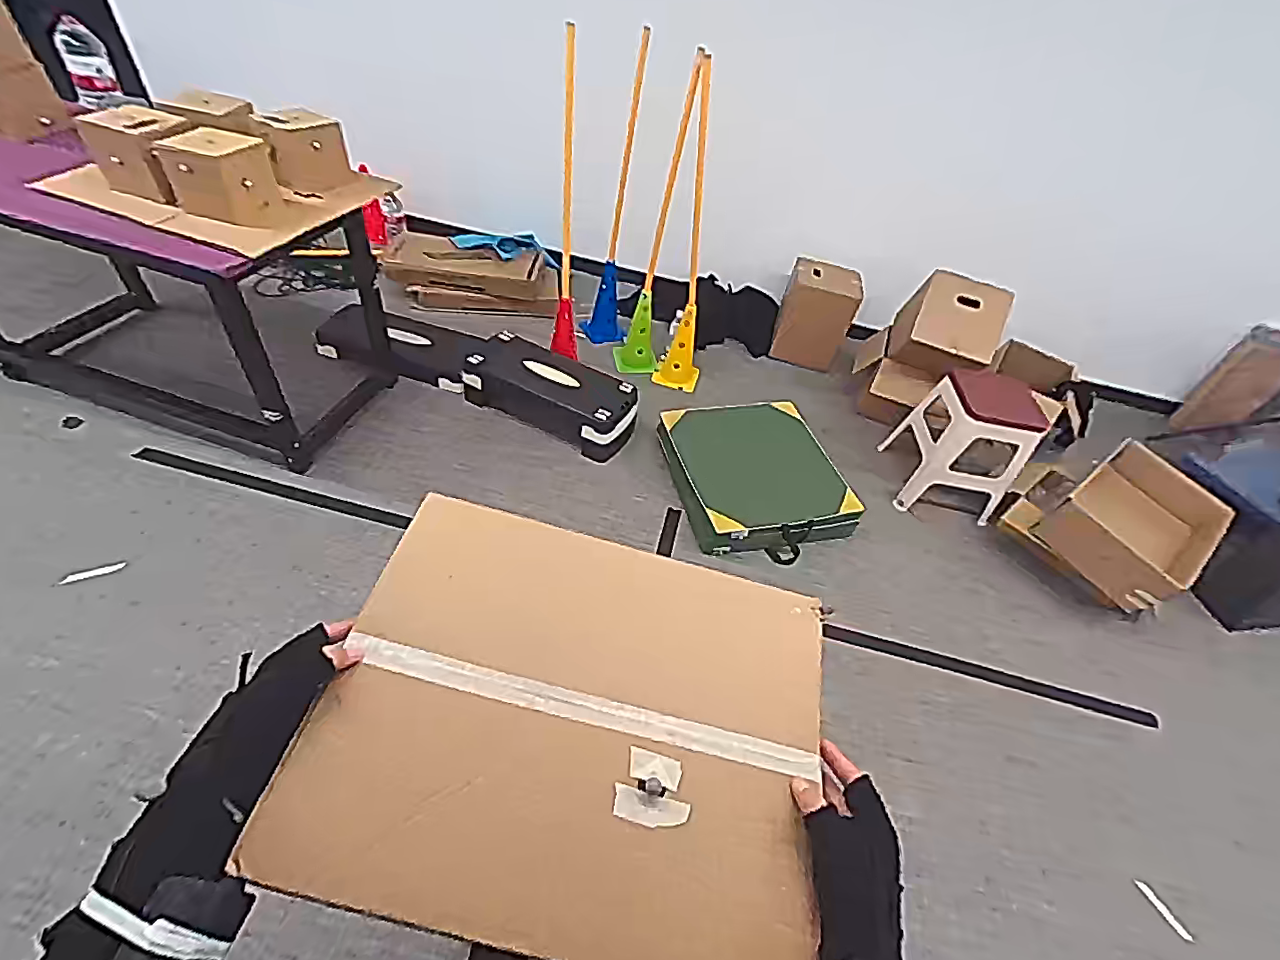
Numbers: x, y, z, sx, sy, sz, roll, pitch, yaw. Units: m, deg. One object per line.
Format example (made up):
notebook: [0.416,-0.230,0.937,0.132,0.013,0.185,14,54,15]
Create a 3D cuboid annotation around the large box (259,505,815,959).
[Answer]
large box: [-0.070,0.277,0.580,0.408,0.320,0.320,16,54,-1]
